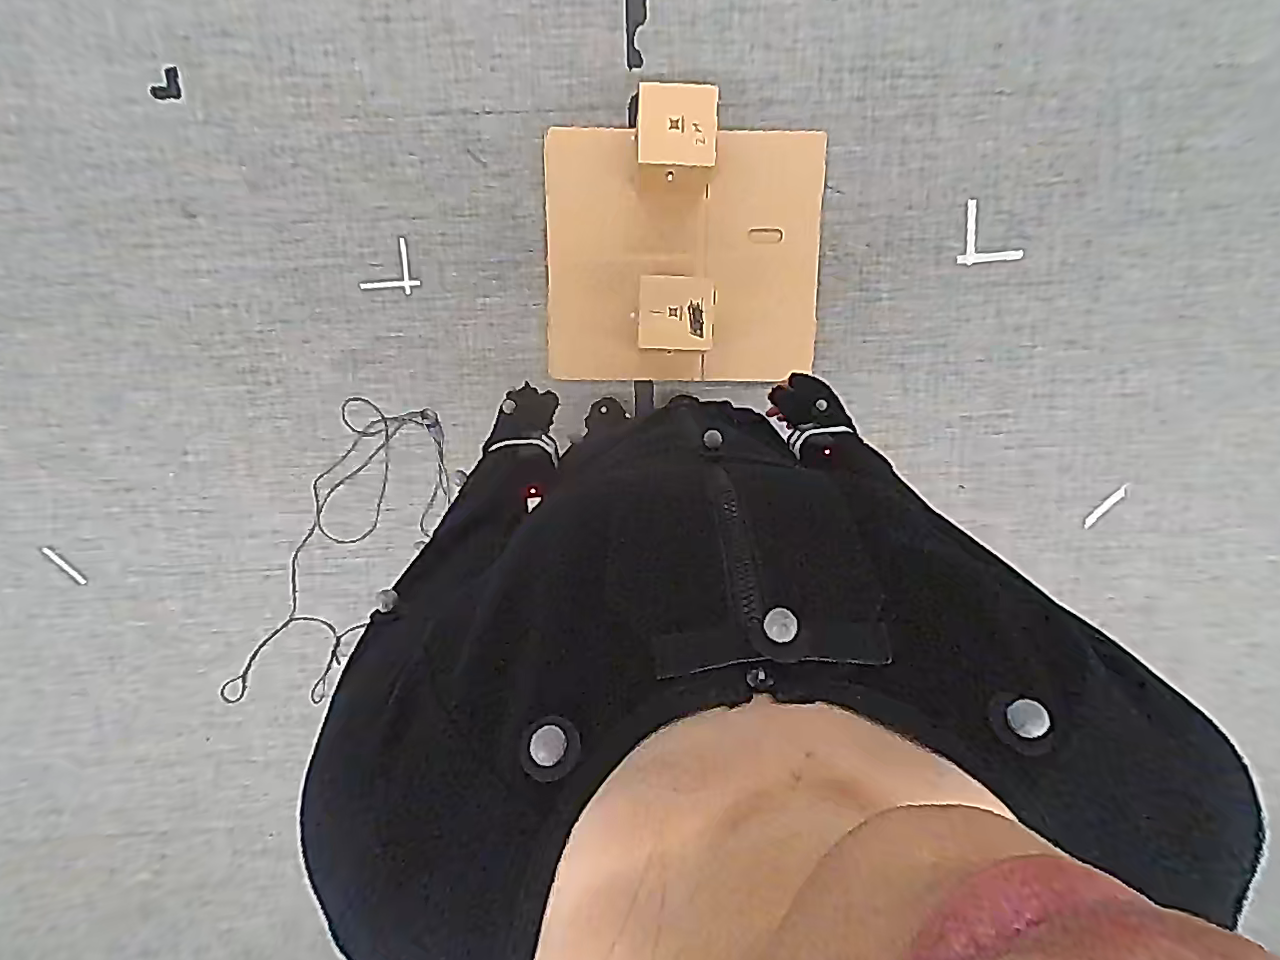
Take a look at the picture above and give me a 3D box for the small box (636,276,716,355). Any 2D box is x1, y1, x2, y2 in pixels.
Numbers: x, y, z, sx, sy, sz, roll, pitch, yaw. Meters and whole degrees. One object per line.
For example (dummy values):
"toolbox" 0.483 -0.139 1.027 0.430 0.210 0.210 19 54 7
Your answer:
"small box" 0.082 -0.398 1.330 0.179 0.176 0.168 1 100 -2

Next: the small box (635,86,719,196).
"small box" 0.079 -0.784 1.264 0.179 0.176 0.168 2 99 -3
